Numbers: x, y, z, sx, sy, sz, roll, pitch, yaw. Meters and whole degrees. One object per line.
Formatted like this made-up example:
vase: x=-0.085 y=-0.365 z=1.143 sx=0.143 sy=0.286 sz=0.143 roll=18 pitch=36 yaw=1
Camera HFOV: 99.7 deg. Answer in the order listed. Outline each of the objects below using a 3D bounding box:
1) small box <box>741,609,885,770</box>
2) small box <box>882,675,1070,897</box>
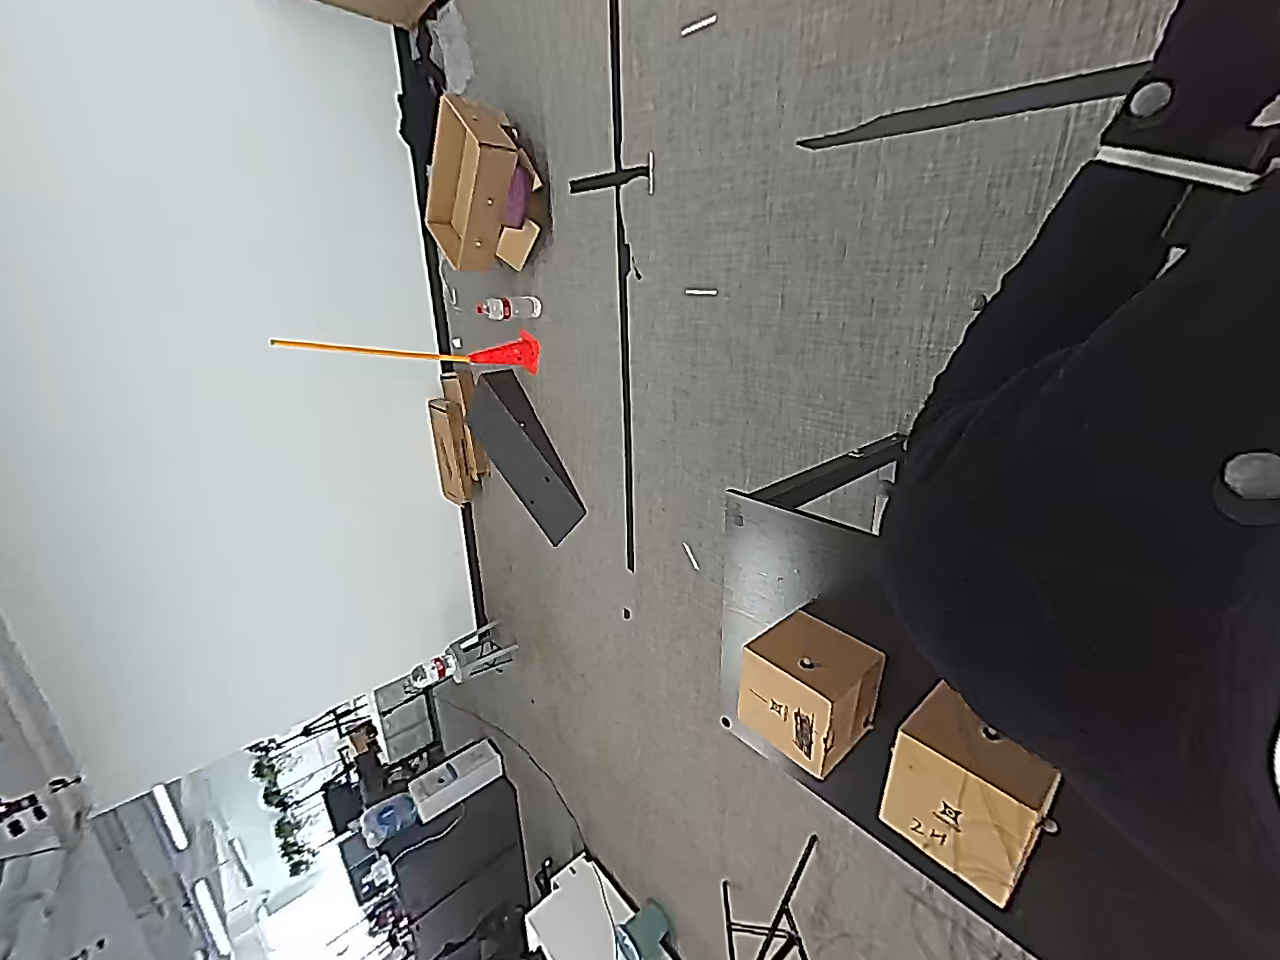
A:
small box: x=0.303 y=0.354 z=0.953 sx=0.179 sy=0.176 sz=0.168 roll=24 pitch=122 yaw=45
small box: x=0.473 y=0.413 z=0.765 sx=0.168 sy=0.176 sz=0.179 roll=23 pitch=121 yaw=45
